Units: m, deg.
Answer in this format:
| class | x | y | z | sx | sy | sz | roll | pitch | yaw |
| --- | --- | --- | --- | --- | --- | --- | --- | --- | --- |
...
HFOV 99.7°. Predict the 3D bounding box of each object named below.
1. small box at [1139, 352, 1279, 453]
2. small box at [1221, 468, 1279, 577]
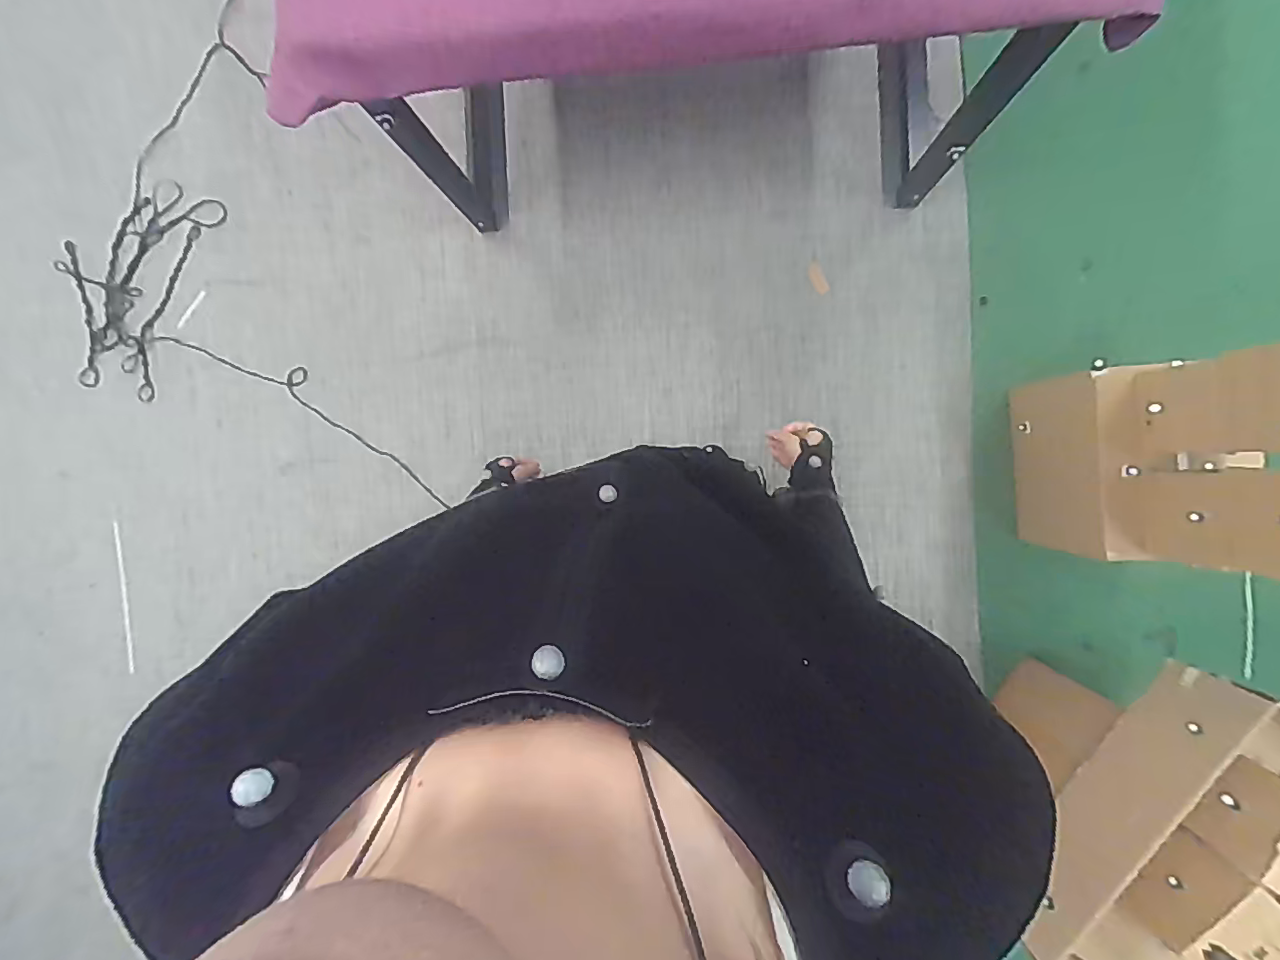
| class | x | y | z | sx | sy | sz | roll | pitch | yaw |
| --- | --- | --- | --- | --- | --- | --- | --- | --- | --- |
| small box | 1.092 | -0.142 | 1.005 | 0.179 | 0.176 | 0.168 | -7 | 92 | 6 |
| small box | 1.084 | 0.072 | 0.852 | 0.168 | 0.176 | 0.179 | 3 | 91 | 7 |
